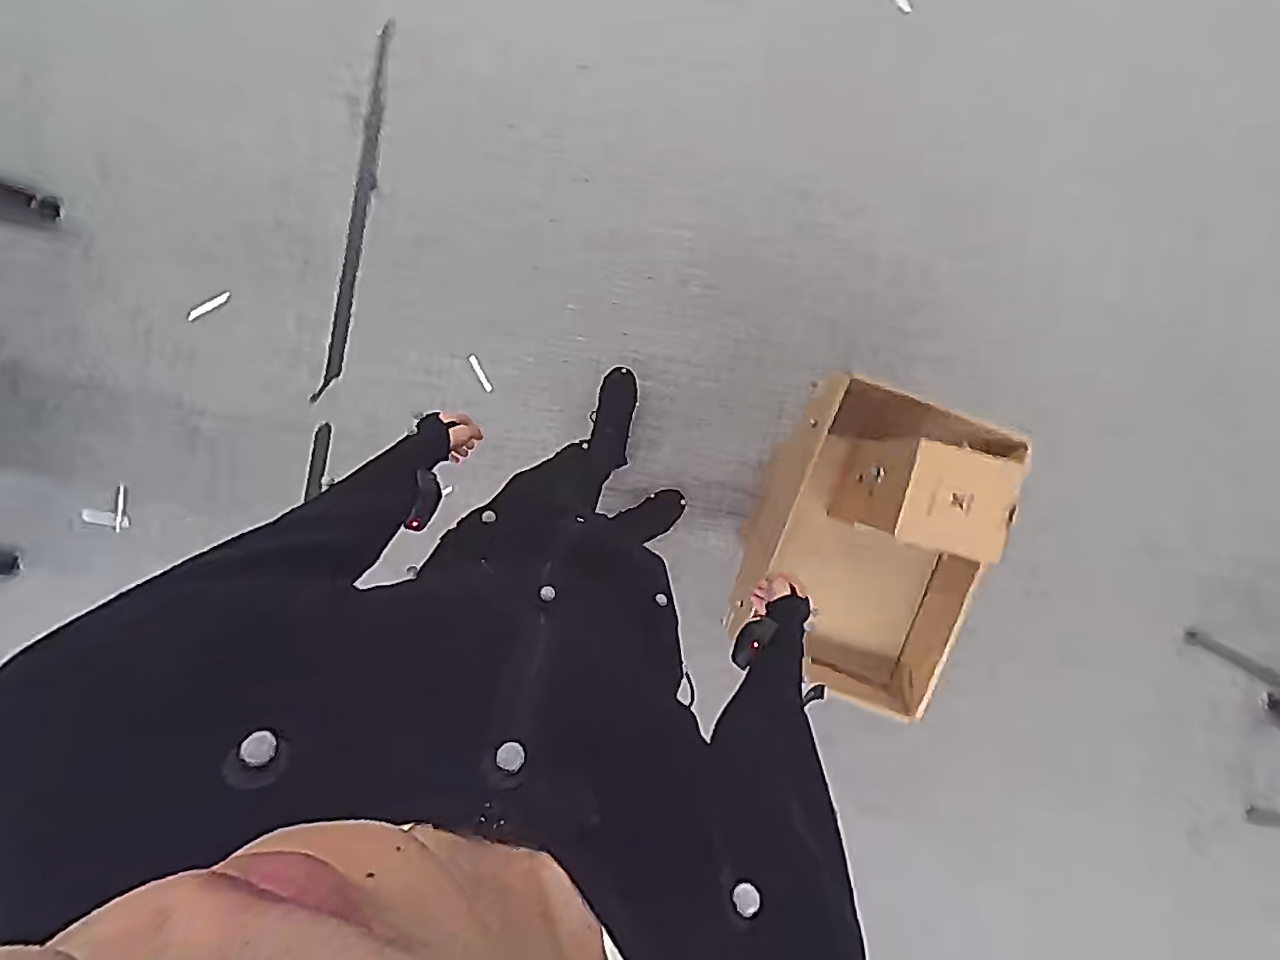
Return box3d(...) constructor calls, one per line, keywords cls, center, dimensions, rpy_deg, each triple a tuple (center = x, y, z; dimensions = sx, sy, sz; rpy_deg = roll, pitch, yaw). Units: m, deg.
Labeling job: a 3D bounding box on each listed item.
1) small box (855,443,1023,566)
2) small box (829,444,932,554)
box3d(cls="small box", center=(0.510, 0.034, 0.948), dimensions=(0.179, 0.176, 0.168), rpy_deg=(15, 94, 0))
box3d(cls="small box", center=(0.511, 0.031, 1.112), dimensions=(0.168, 0.176, 0.179), rpy_deg=(18, 95, 1))
